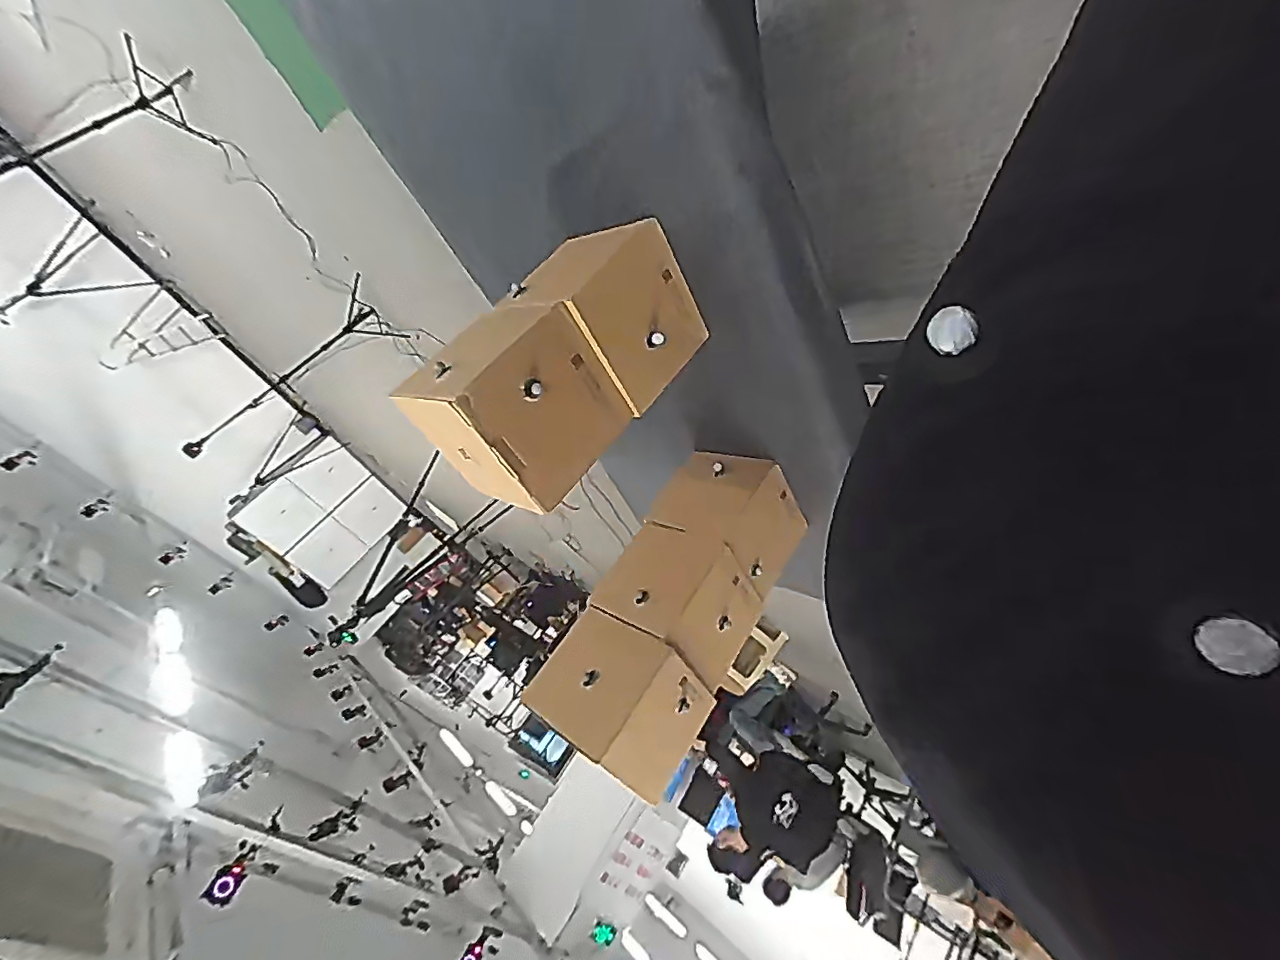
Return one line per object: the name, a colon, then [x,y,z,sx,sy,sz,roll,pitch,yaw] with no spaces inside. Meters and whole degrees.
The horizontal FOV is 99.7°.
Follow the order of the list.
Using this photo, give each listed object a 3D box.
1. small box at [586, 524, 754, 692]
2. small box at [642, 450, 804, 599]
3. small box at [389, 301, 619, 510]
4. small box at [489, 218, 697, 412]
small box: [0.057,0.189,0.842,0.179,0.176,0.168,11,144,46]
small box: [0.143,0.065,0.910,0.179,0.176,0.168,11,144,47]
small box: [-0.148,-0.092,0.635,0.179,0.176,0.168,13,145,47]
small box: [-0.049,-0.208,0.693,0.179,0.176,0.168,13,146,45]
